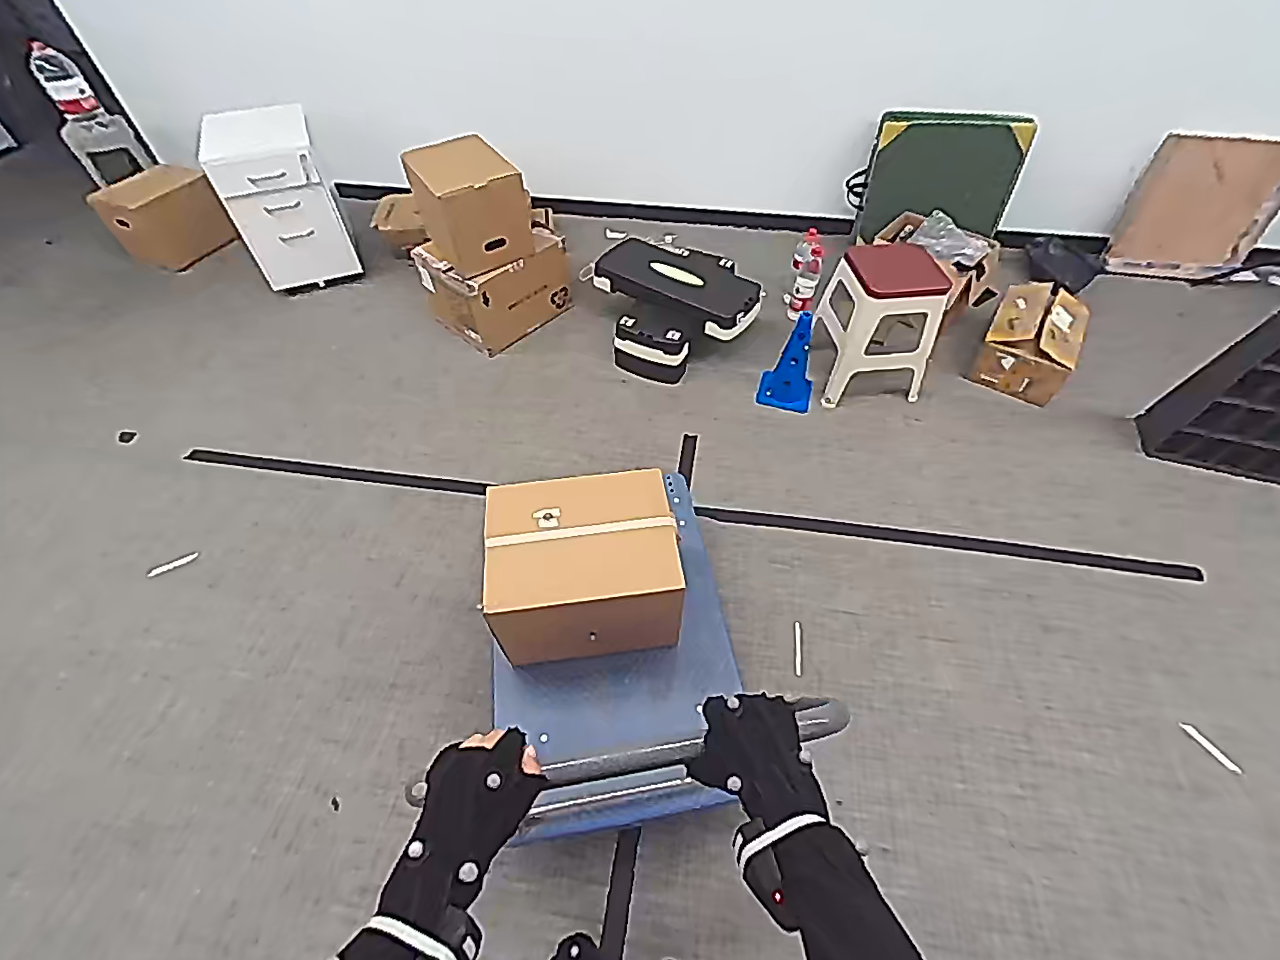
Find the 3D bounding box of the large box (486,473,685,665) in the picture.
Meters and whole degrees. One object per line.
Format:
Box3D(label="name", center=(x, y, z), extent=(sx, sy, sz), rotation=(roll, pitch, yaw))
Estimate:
Box3D(label="large box", center=(-0.124, 0.216, 1.282), extent=(0.408, 0.320, 0.320), rotation=(-7, 52, -4))
